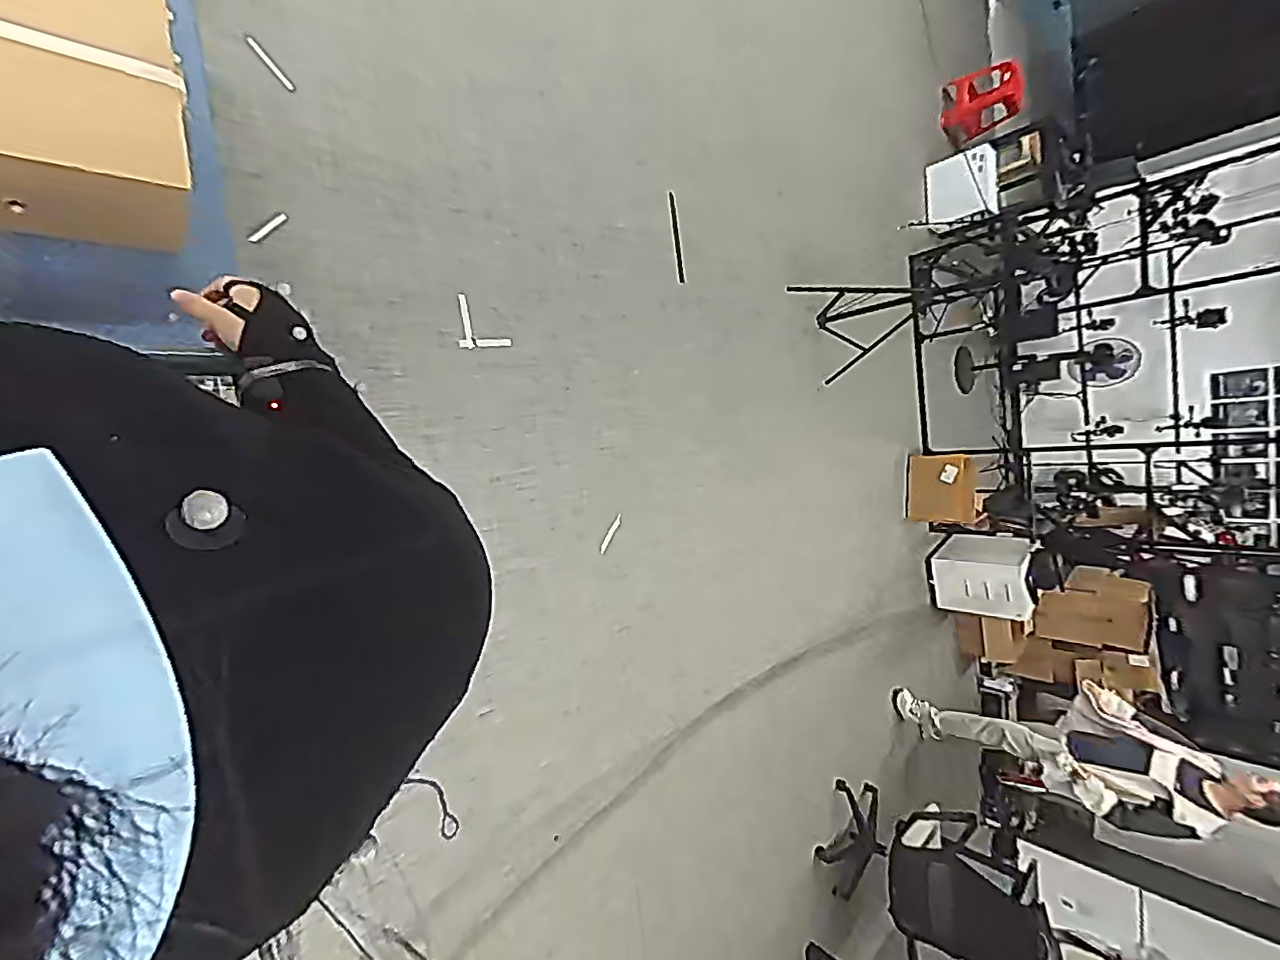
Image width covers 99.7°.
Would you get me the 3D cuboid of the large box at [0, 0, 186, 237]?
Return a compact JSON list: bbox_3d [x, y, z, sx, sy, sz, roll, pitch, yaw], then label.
[{"bbox_3d":[-0.958,-0.589,0.798,0.408,0.320,0.320,-9,95,-41],"label":"large box"}]
